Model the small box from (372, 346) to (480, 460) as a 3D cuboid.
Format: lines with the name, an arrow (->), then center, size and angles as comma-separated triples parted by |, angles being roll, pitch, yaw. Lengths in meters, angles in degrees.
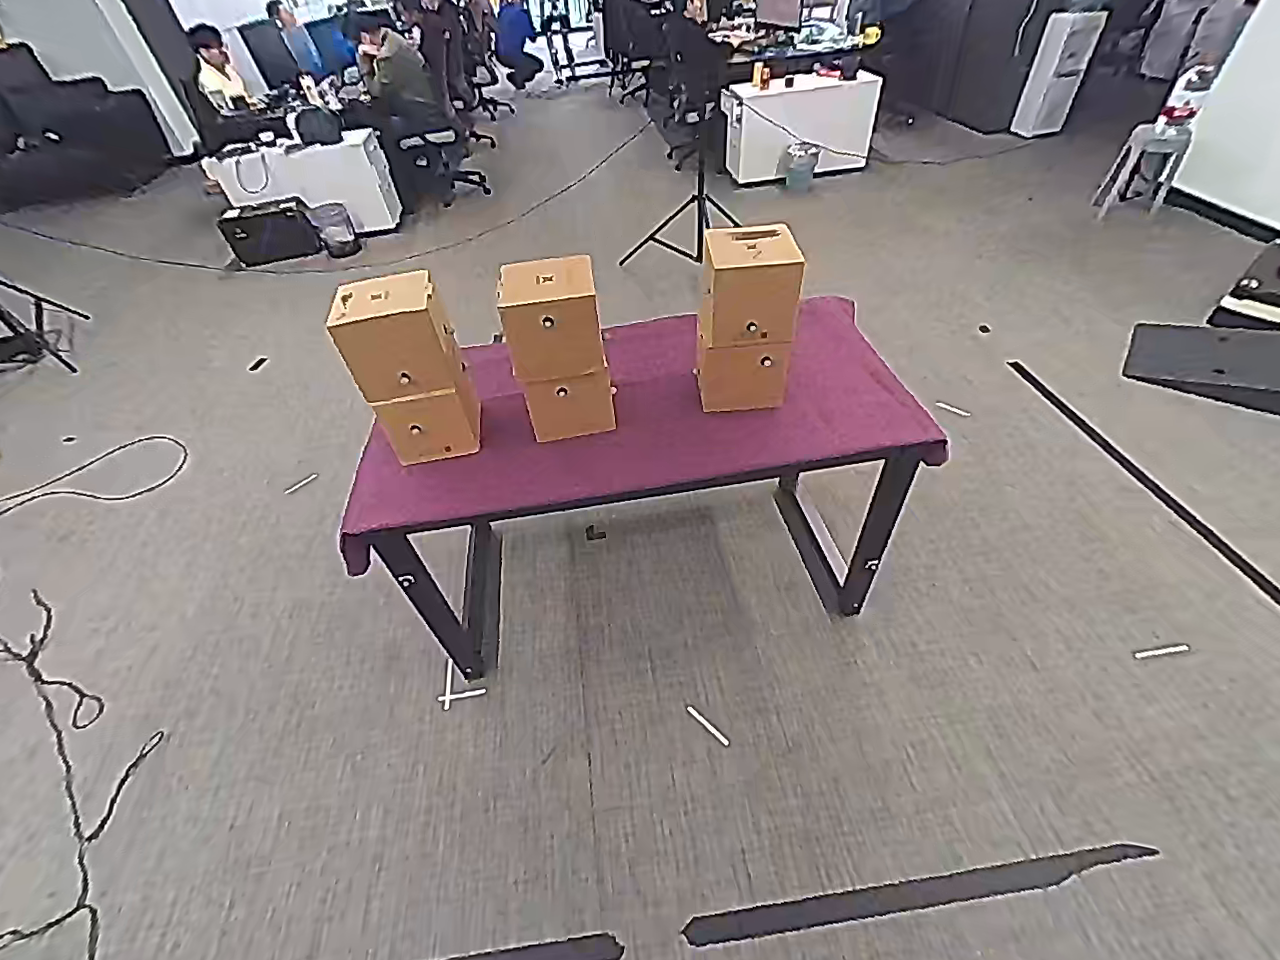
small box -> -0.448, -0.160, 1.163 | 0.168, 0.176, 0.179 | -11, 46, -5

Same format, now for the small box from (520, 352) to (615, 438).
small box -> -0.158, -0.210, 1.180 | 0.179, 0.176, 0.168 | -10, 46, -5

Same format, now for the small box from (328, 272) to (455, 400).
small box -> -0.467, -0.278, 1.050 | 0.179, 0.176, 0.168 | -12, 45, -7

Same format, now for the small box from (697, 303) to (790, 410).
small box -> 0.219, -0.271, 1.200 | 0.179, 0.176, 0.168 | -4, 45, 2

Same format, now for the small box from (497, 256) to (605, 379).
small box -> -0.169, -0.312, 1.055 | 0.179, 0.176, 0.168 | -8, 47, -3
